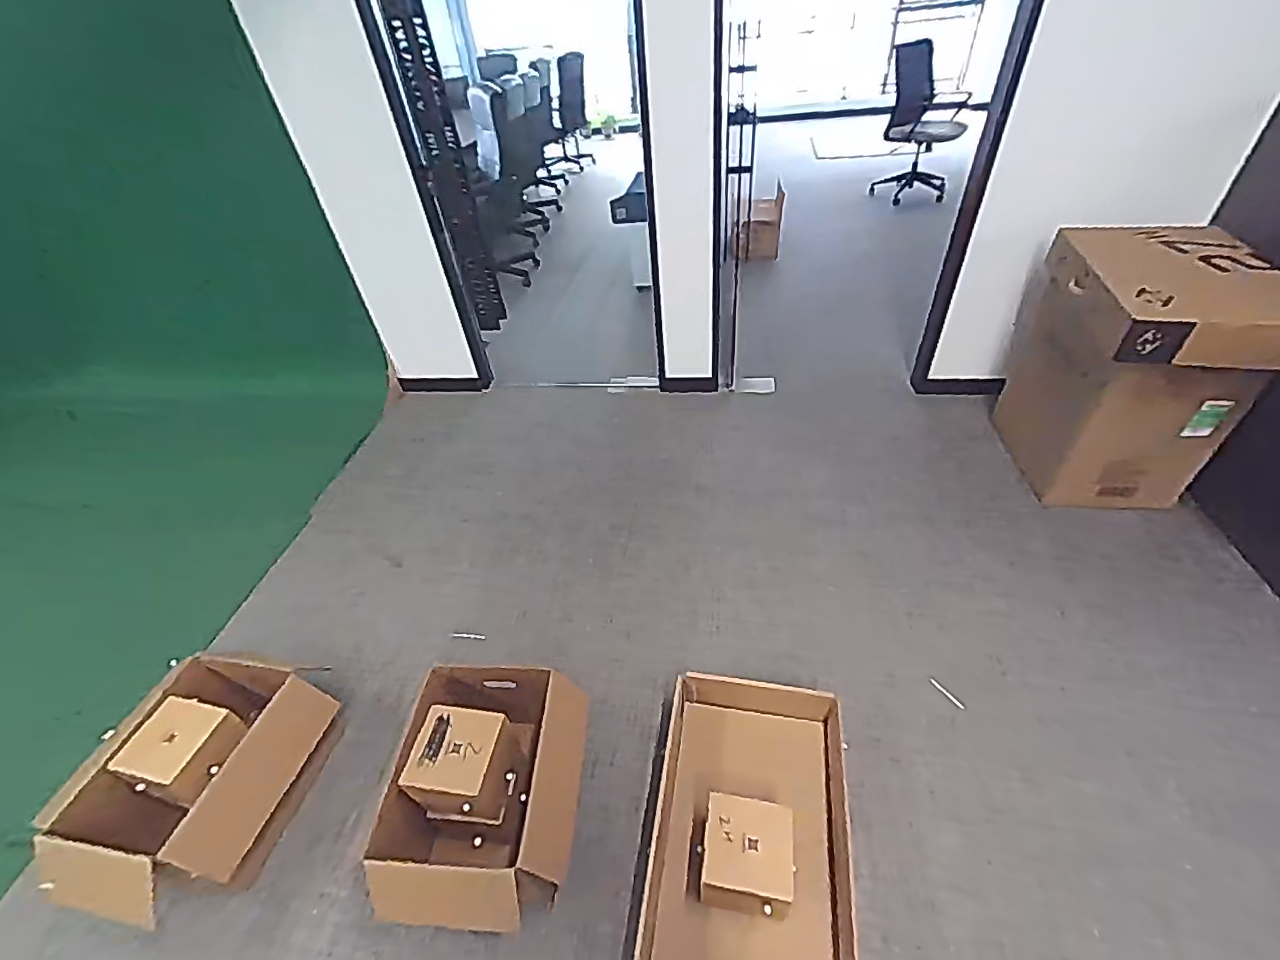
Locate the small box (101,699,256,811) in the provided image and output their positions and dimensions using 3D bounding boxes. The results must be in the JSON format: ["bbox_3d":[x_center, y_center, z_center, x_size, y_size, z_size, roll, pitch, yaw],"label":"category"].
[{"bbox_3d":[-1.046,0.636,1.246,0.179,0.176,0.168,6,42,12],"label":"small box"}]
